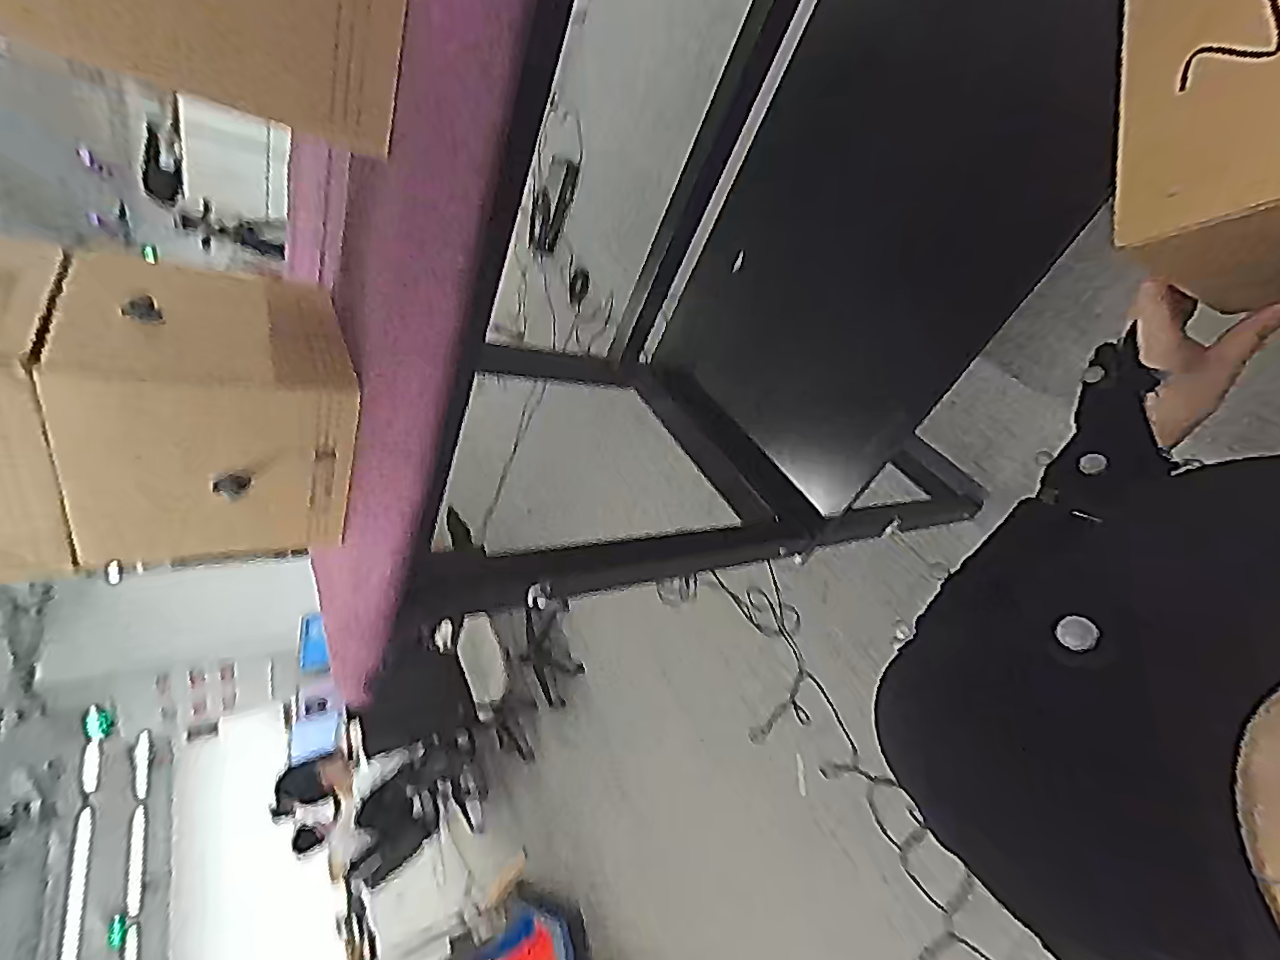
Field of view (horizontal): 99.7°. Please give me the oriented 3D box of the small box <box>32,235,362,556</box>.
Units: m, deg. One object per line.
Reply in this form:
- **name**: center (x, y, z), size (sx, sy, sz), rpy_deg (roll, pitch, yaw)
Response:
- **small box**: center (-0.334, -0.065, 0.432), size (0.179, 0.176, 0.168), rpy_deg (53, 129, 37)

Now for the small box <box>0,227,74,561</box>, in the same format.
- **small box**: center (-0.463, -0.056, 0.333), size (0.168, 0.176, 0.179), rpy_deg (50, 127, 37)
